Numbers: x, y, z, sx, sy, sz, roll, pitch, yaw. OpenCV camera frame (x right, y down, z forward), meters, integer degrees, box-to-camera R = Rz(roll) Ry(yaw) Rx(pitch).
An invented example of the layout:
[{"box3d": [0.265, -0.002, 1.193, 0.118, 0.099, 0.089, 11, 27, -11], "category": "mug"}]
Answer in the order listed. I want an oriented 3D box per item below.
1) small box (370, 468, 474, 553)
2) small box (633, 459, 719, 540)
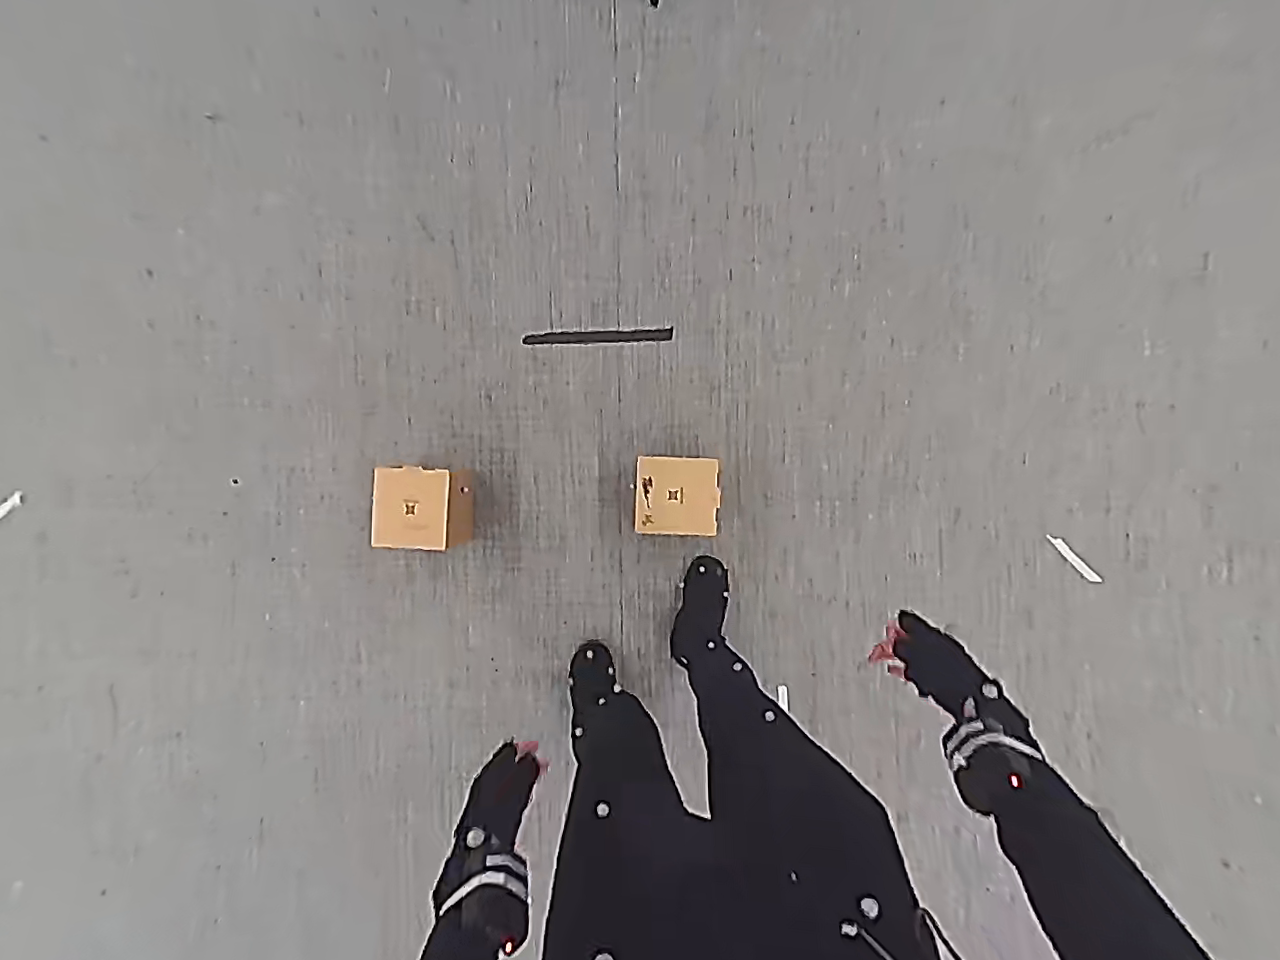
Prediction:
[{"box3d": [-0.487, 0.065, 1.231, 0.168, 0.176, 0.179, 2, 90, 3], "category": "small box"}, {"box3d": [0.076, 0.041, 1.218, 0.179, 0.176, 0.168, 2, 89, 0], "category": "small box"}]
